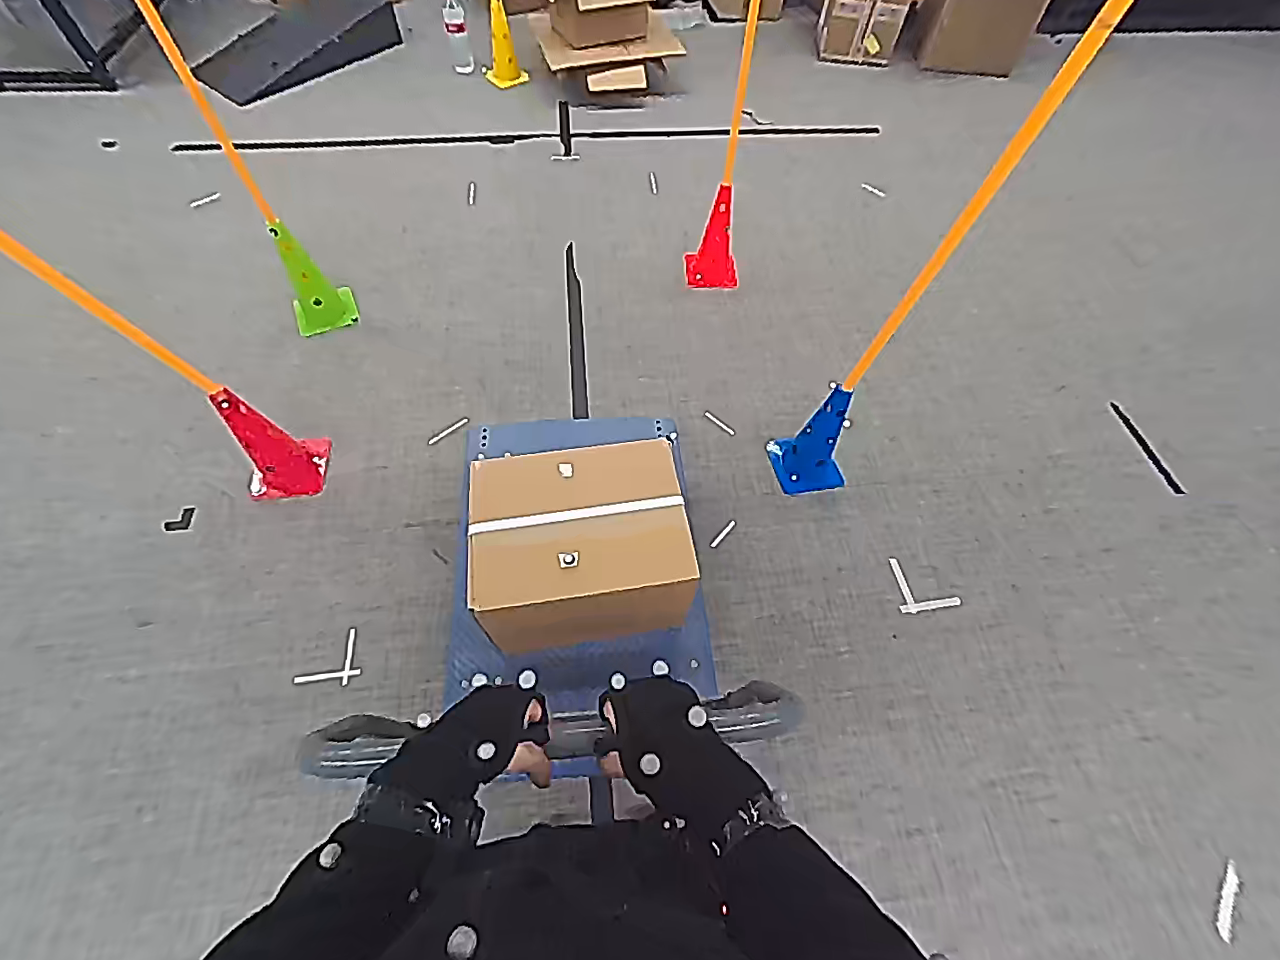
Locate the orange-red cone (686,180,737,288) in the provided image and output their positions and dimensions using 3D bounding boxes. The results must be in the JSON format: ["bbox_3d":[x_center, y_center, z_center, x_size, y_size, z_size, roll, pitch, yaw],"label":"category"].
[{"bbox_3d":[0.287,-0.913,1.978,0.199,0.360,0.198,2,59,-3],"label":"orange-red cone"}]

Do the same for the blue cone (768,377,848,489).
[{"bbox_3d":[0.516,-0.146,1.543,0.193,0.380,0.192,-8,58,-8],"label":"blue cone"}]
